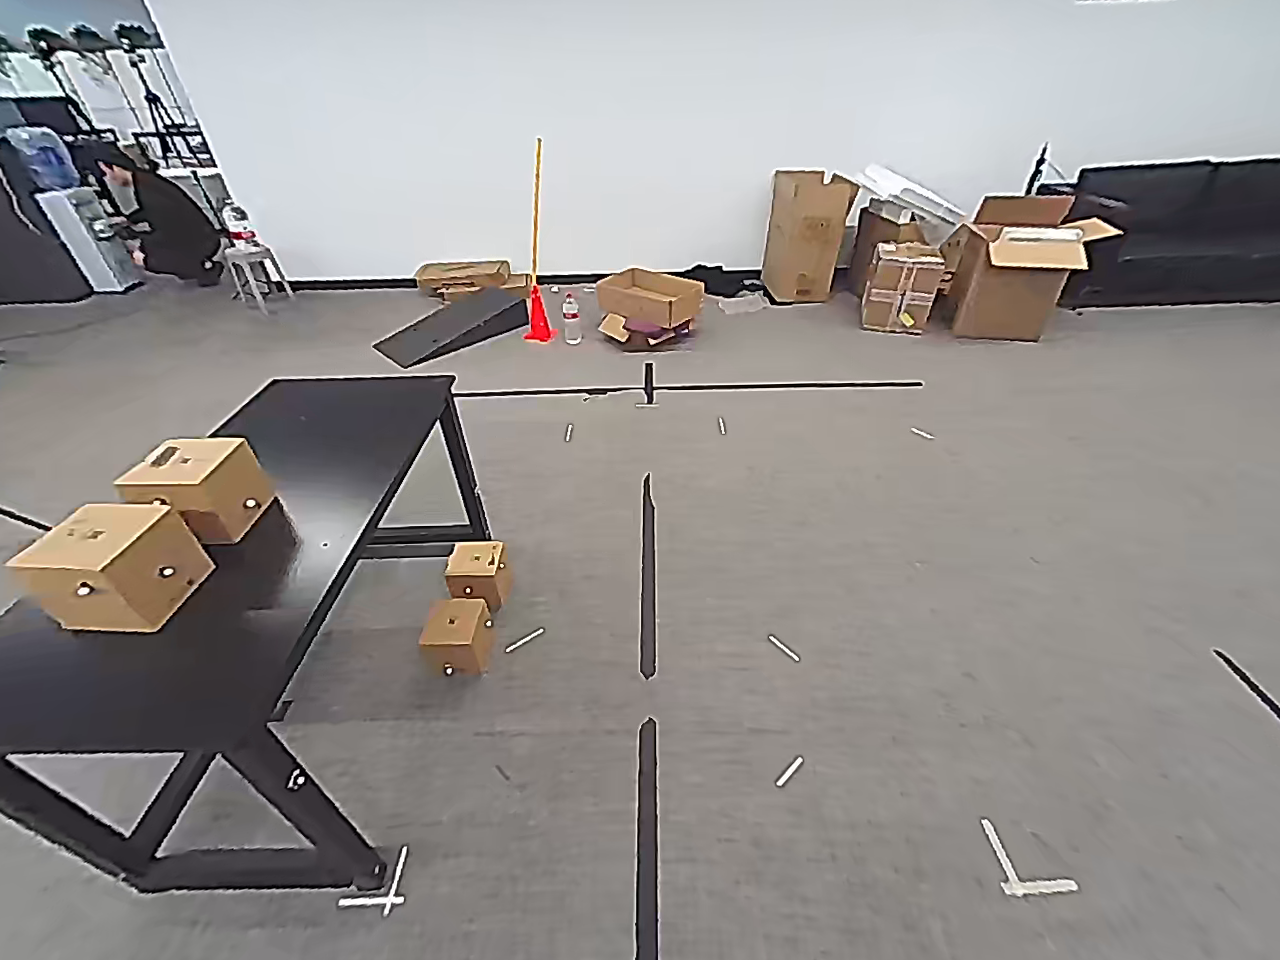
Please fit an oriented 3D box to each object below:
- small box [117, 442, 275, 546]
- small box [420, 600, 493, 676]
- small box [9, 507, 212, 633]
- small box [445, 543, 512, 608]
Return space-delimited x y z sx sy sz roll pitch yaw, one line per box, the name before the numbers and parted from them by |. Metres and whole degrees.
small box | -0.956 0.032 1.184 0.179 0.176 0.168 -1 38 0
small box | -0.581 0.509 1.743 0.168 0.176 0.179 -2 39 1
small box | -0.961 0.169 1.006 0.179 0.176 0.168 0 37 4
small box | -0.577 0.346 1.949 0.179 0.176 0.168 -2 39 1
